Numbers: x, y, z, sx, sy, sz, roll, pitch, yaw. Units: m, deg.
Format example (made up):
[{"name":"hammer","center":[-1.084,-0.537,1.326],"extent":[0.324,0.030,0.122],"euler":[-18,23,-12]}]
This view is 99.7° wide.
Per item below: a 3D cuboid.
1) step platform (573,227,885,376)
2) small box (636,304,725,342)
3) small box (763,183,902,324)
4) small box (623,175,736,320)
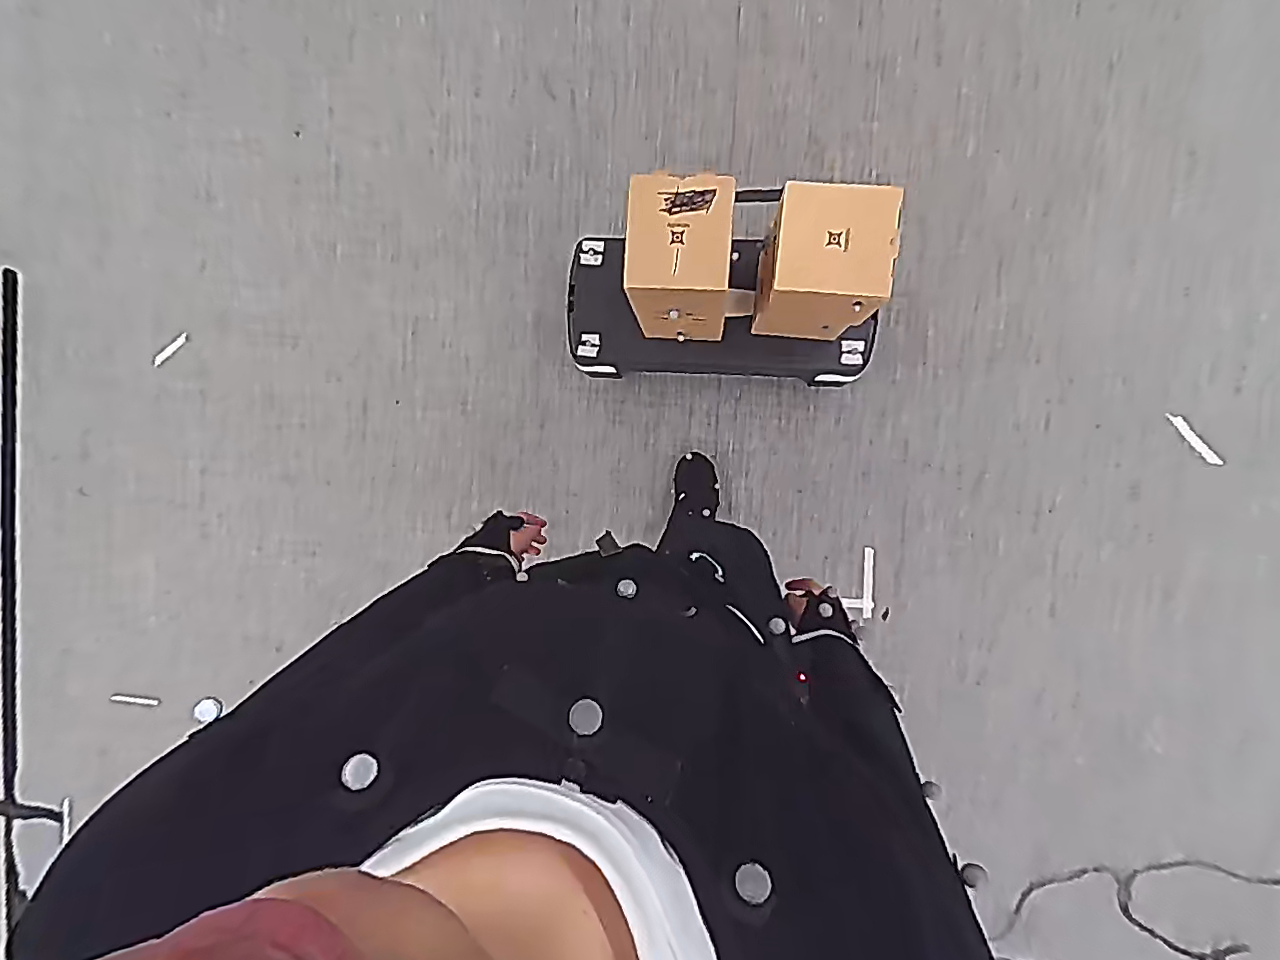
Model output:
[{"name":"step platform","center":[0.190,-0.405,1.241],"extent":[0.684,0.204,0.286],"euler":[3,92,7]},{"name":"small box","center":[0.088,-0.386,1.078],"extent":[0.168,0.176,0.179],"euler":[5,93,6]},{"name":"small box","center":[0.304,-0.362,0.892],"extent":[0.179,0.176,0.168],"euler":[6,93,6]},{"name":"small box","center":[0.068,-0.384,0.915],"extent":[0.168,0.176,0.179],"euler":[4,93,6]}]
